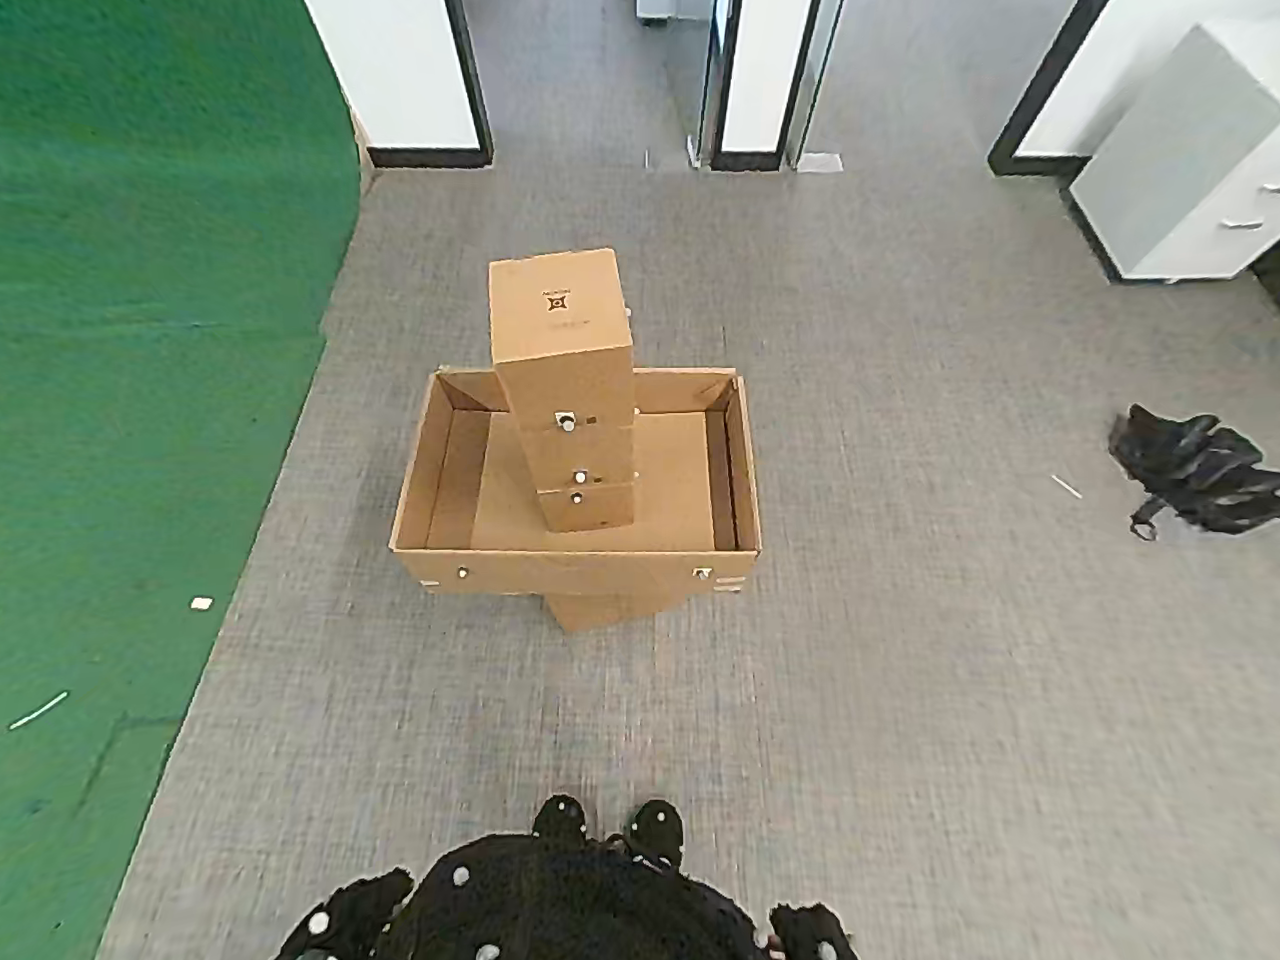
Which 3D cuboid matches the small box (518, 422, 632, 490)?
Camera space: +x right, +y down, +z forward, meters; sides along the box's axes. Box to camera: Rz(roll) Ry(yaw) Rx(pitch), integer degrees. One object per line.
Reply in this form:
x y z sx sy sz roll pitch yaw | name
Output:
-0.102 -0.103 0.888 0.168 0.176 0.179 -5 62 -3 | small box

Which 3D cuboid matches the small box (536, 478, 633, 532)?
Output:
-0.103 -0.020 1.029 0.168 0.176 0.179 -6 60 -2 | small box

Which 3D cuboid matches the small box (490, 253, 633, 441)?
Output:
-0.104 -0.179 0.745 0.168 0.176 0.179 -9 62 -4 | small box
